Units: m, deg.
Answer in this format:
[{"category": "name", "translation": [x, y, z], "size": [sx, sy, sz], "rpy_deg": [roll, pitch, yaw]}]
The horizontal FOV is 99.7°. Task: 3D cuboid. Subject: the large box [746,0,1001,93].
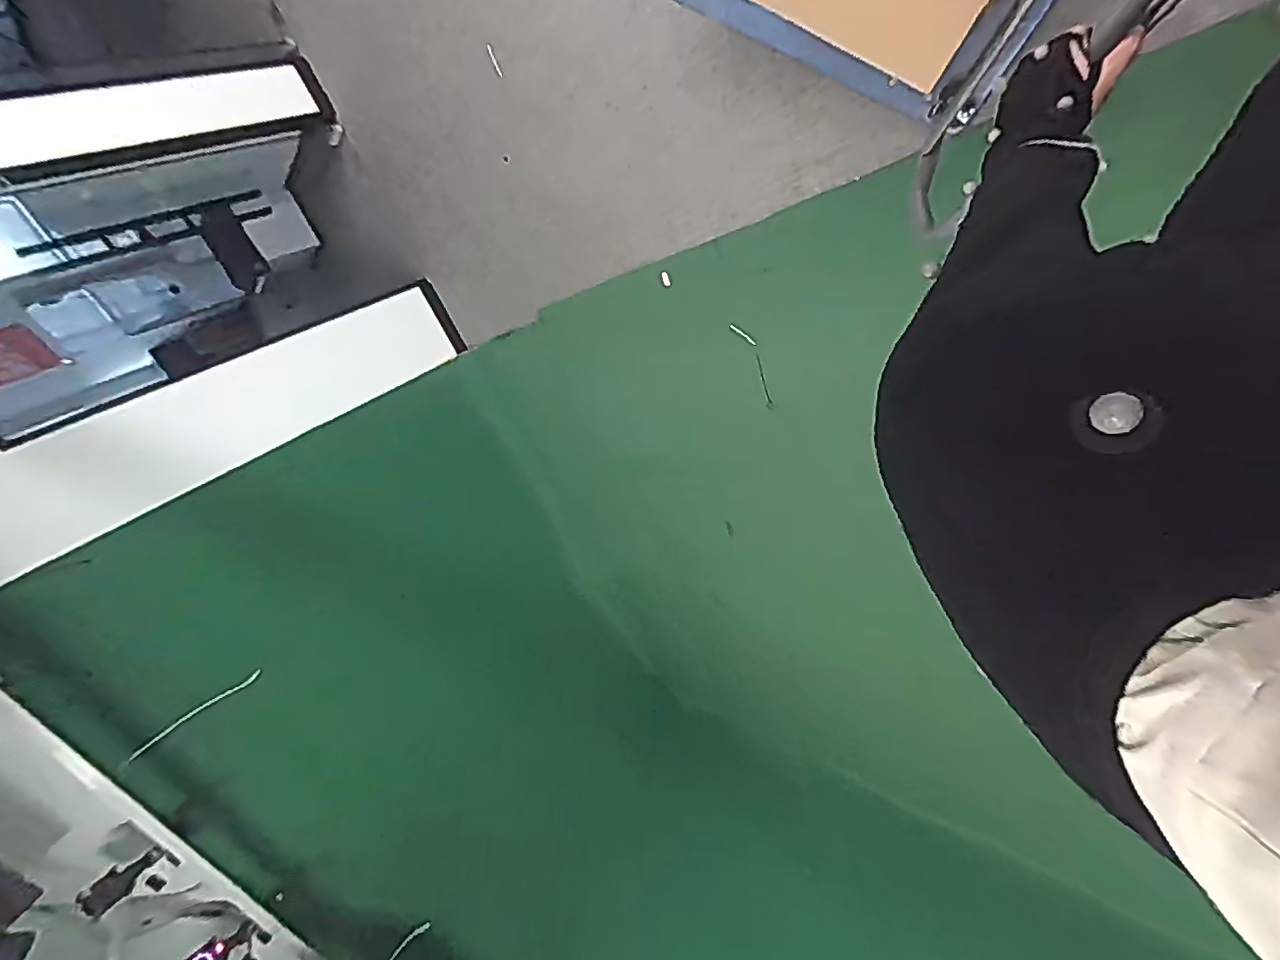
[{"category": "large box", "translation": [0.440, -0.929, 0.891], "size": [0.408, 0.320, 0.320], "rpy_deg": [33, 144, 6]}]
